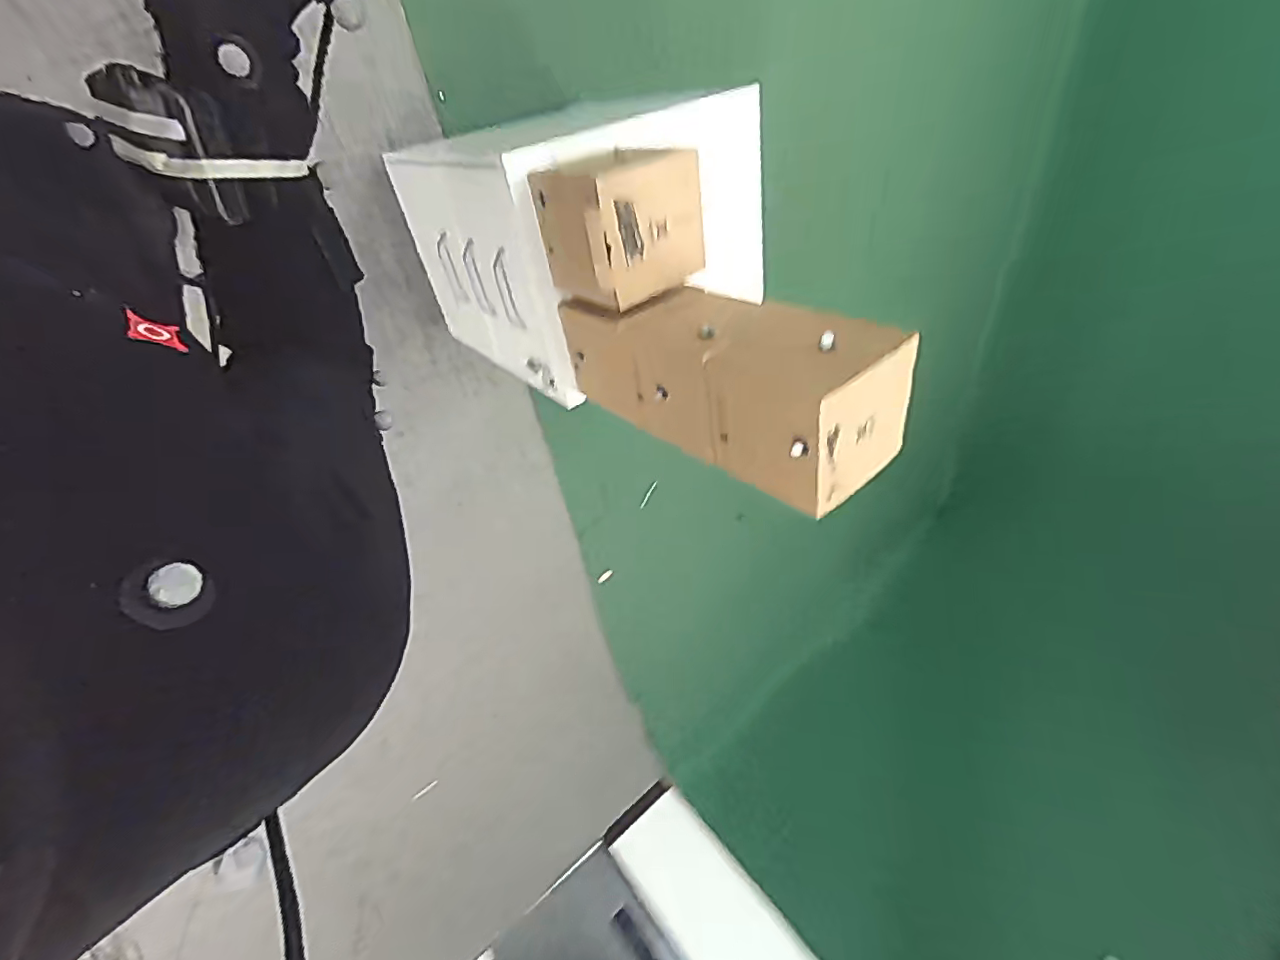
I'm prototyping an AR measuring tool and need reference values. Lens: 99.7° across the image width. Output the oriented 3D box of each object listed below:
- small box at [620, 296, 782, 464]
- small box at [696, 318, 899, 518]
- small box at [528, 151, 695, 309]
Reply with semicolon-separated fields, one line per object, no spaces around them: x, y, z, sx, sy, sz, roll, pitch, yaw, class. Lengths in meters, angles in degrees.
0.084;-0.154;0.791;0.179;0.176;0.168;-31;132;-27;small box
0.194;-0.089;0.687;0.179;0.176;0.168;-34;133;-26;small box
-0.044;-0.368;0.785;0.179;0.176;0.168;-32;134;-27;small box
